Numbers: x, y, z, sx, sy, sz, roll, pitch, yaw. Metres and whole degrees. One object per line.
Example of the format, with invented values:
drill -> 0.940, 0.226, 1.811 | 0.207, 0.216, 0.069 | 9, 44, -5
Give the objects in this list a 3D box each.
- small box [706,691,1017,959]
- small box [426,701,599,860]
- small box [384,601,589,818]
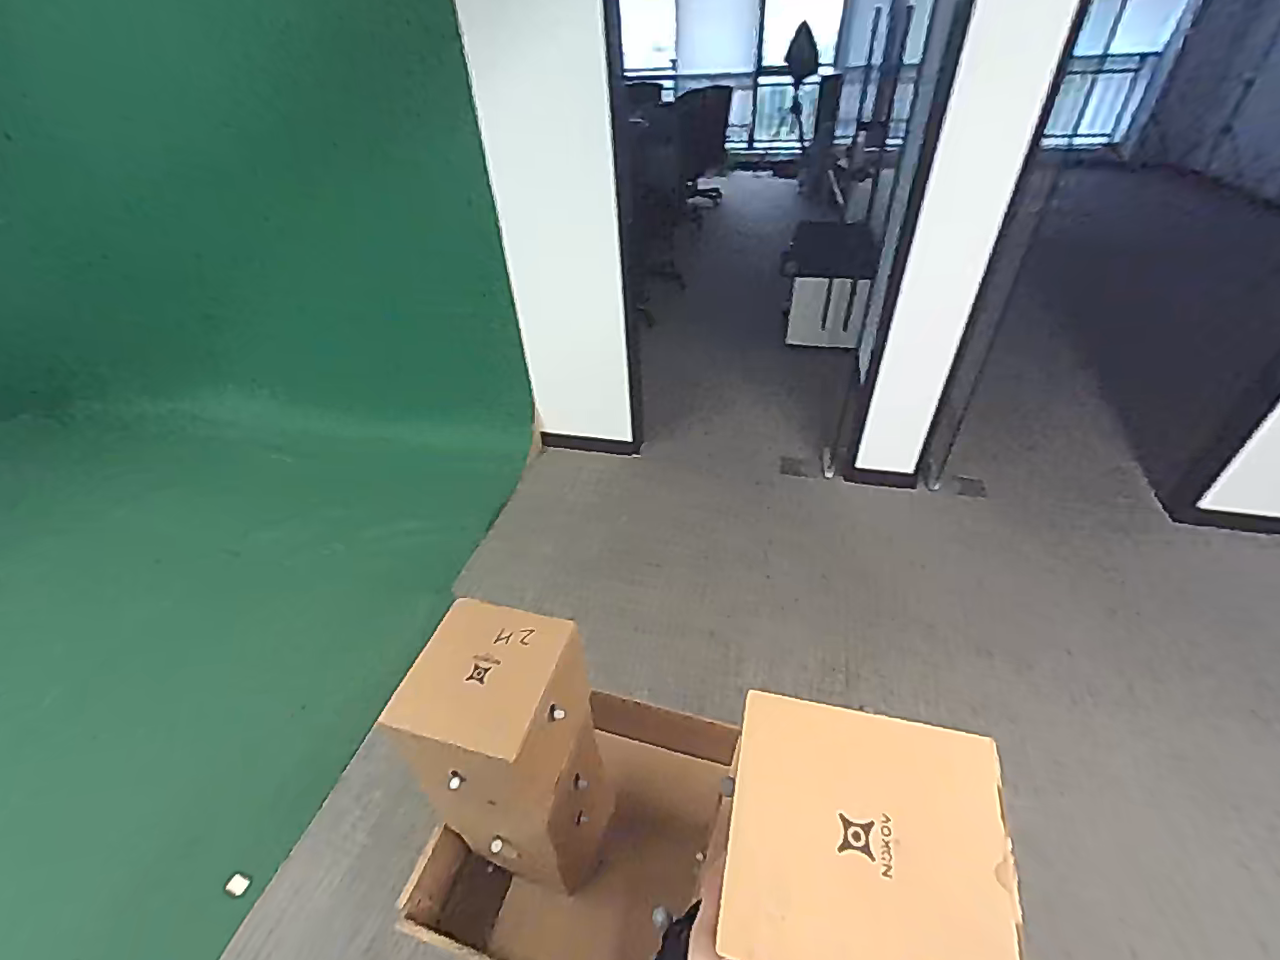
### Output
small box -> 0.154, 0.285, 0.415 | 0.179, 0.176, 0.168 | 5, 53, 15
small box -> -0.167, 0.414, 0.779 | 0.179, 0.176, 0.168 | 8, 40, 14
small box -> -0.172, 0.285, 0.676 | 0.168, 0.176, 0.179 | 9, 41, 15
